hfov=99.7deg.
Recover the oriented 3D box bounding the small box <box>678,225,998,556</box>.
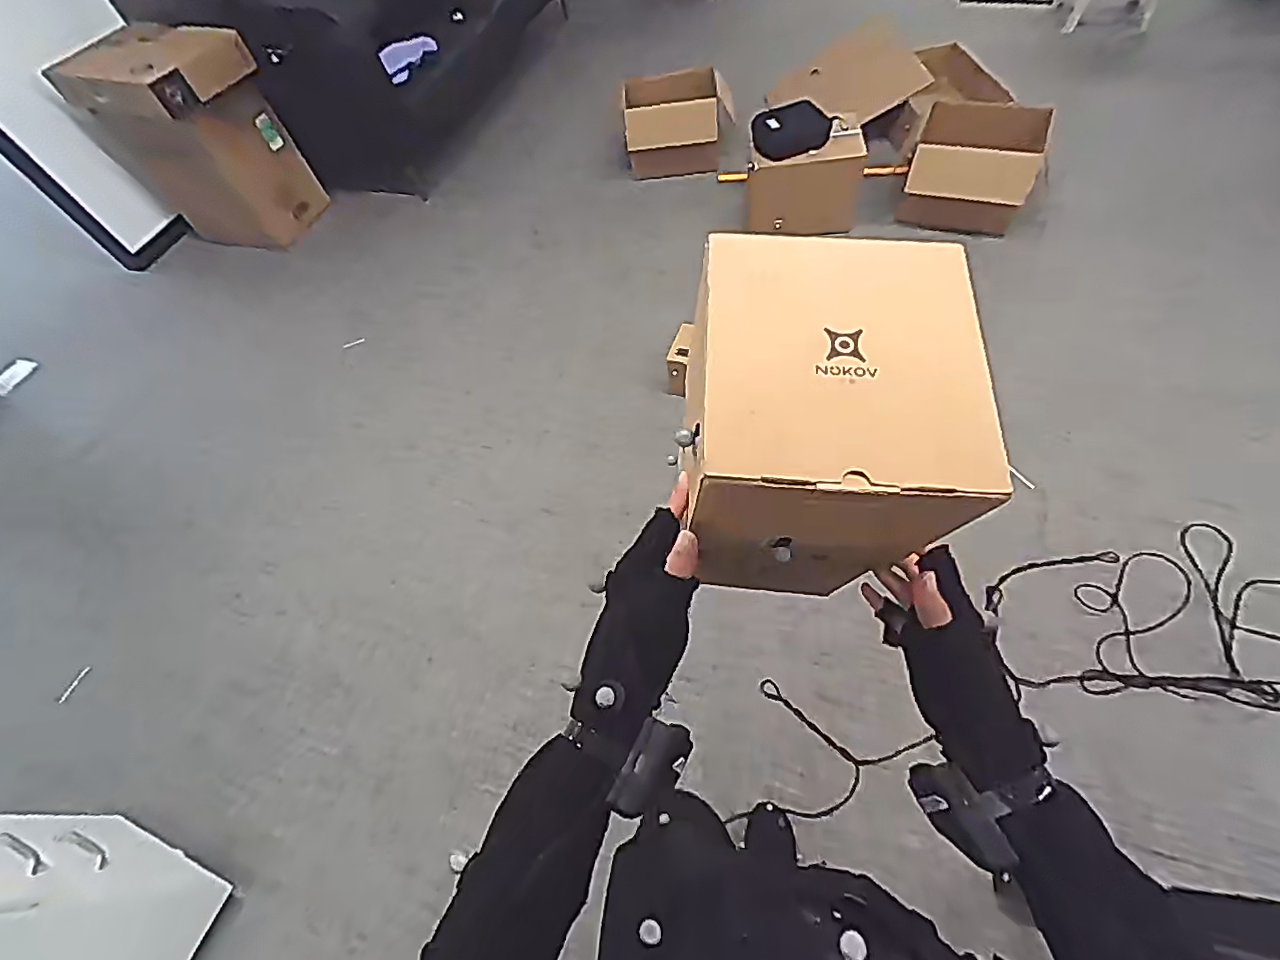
[{"bbox_3d":[0.116,-0.053,0.396,0.168,0.176,0.179,3,69,1],"label":"small box"}]

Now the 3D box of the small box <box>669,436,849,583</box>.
[{"bbox_3d":[0.123,0.003,0.548,0.179,0.176,0.168,5,68,2],"label":"small box"}]
